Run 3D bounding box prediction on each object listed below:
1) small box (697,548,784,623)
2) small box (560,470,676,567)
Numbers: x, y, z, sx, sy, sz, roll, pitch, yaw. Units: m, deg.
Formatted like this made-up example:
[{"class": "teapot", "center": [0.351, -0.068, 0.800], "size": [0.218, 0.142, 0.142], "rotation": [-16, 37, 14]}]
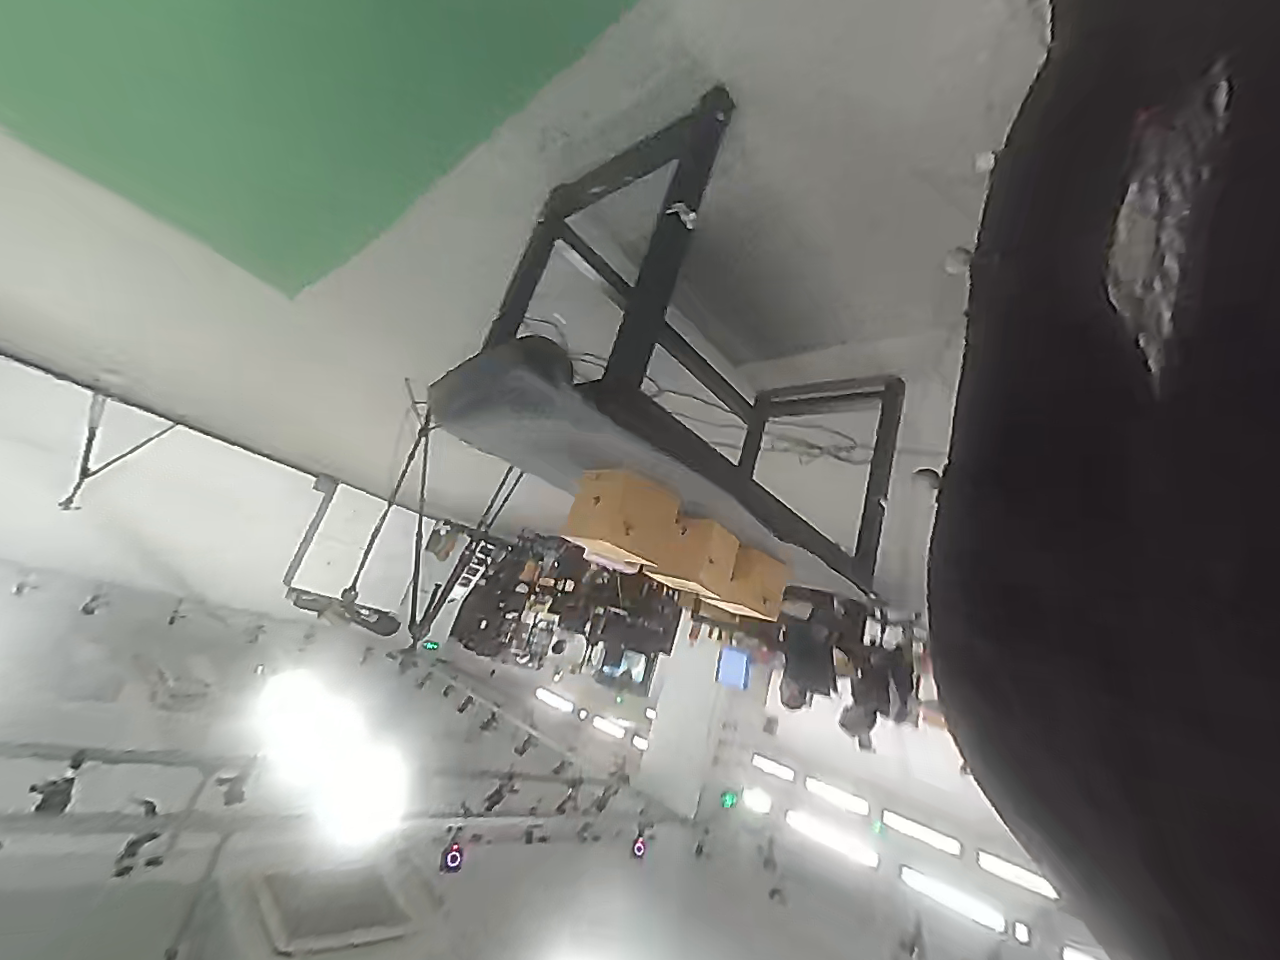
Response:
[{"class": "small box", "center": [0.299, 0.307, 1.594], "size": [0.179, 0.176, 0.168], "rotation": [30, 160, -36]}, {"class": "small box", "center": [-0.046, 0.084, 1.225], "size": [0.168, 0.176, 0.179], "rotation": [0, 156, 47]}]
